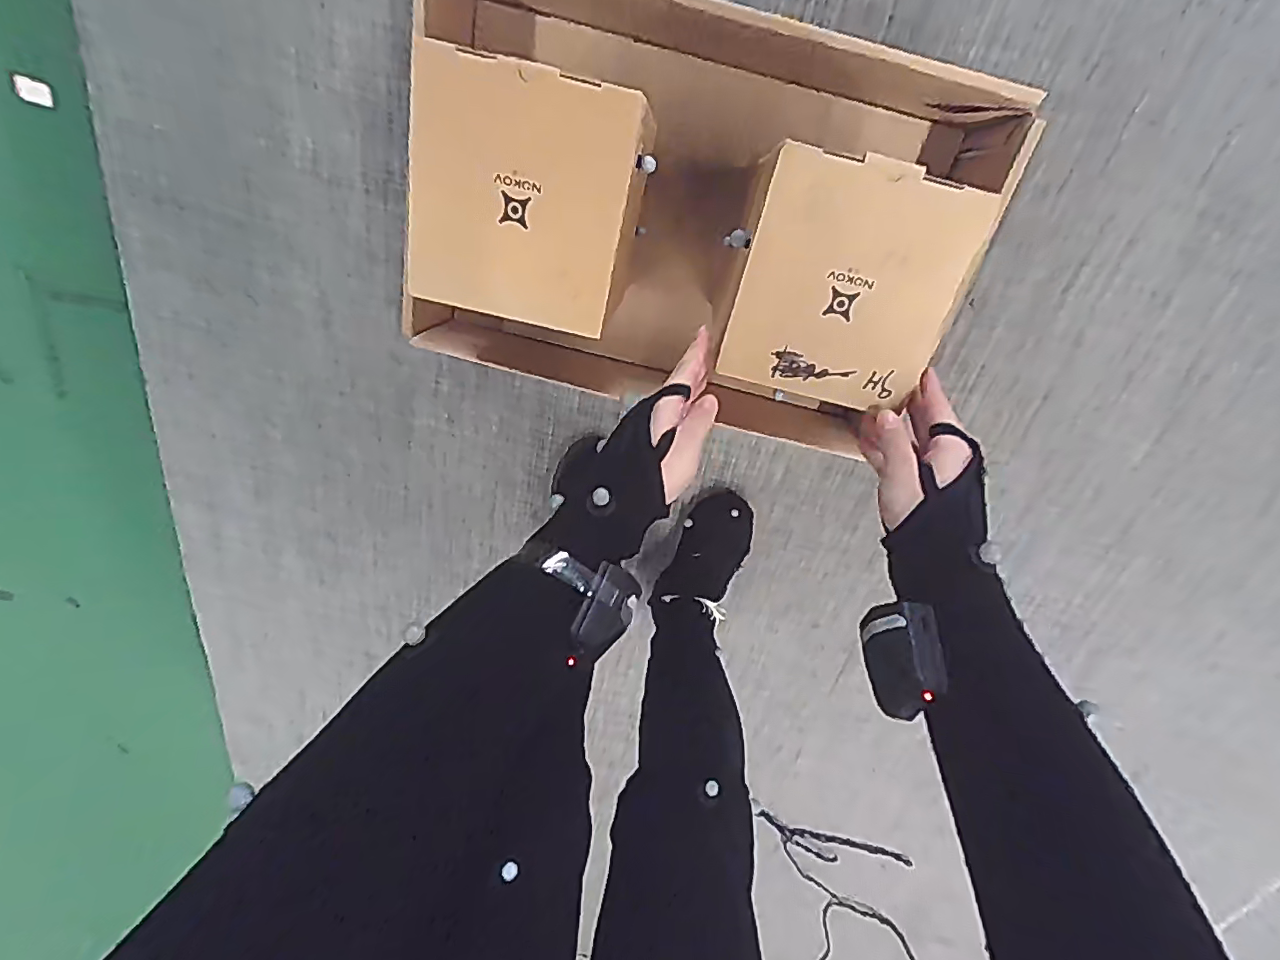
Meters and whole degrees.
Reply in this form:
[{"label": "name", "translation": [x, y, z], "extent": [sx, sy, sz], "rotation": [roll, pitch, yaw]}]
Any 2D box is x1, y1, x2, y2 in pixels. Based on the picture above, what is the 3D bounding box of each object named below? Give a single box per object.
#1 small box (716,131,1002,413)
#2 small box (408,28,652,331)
[{"label": "small box", "translation": [0.169, -0.185, 0.492], "extent": [0.168, 0.176, 0.179], "rotation": [15, 116, 0]}, {"label": "small box", "translation": [-0.087, -0.252, 0.482], "extent": [0.168, 0.176, 0.179], "rotation": [13, 116, -2]}]
